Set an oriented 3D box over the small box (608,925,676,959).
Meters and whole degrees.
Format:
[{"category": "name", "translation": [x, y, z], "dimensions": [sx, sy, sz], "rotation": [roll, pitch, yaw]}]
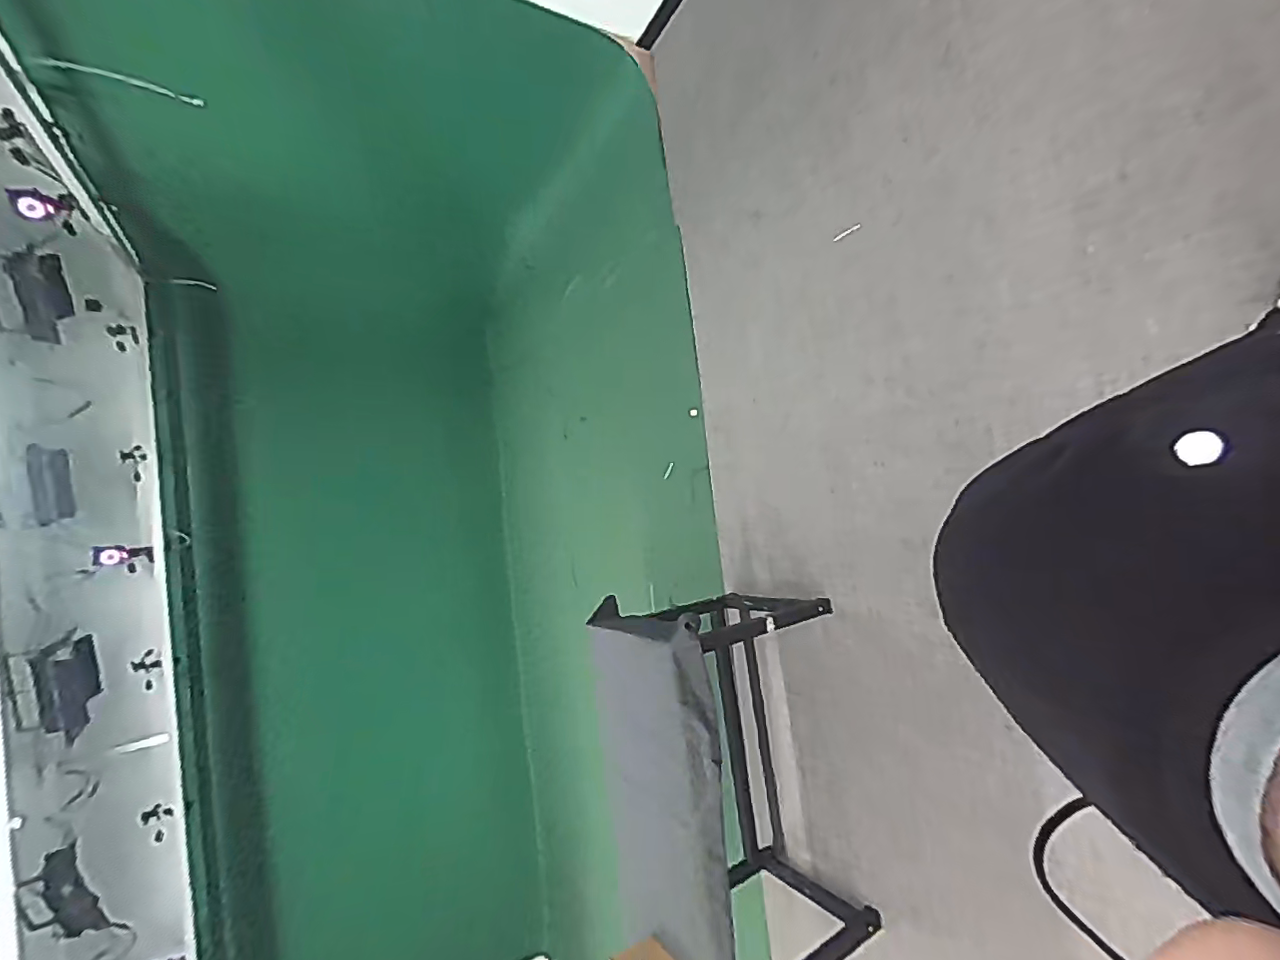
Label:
[{"category": "small box", "translation": [0.015, 1.622, 1.773], "dimensions": [0.179, 0.176, 0.168], "rotation": [-13, 83, 57]}]
